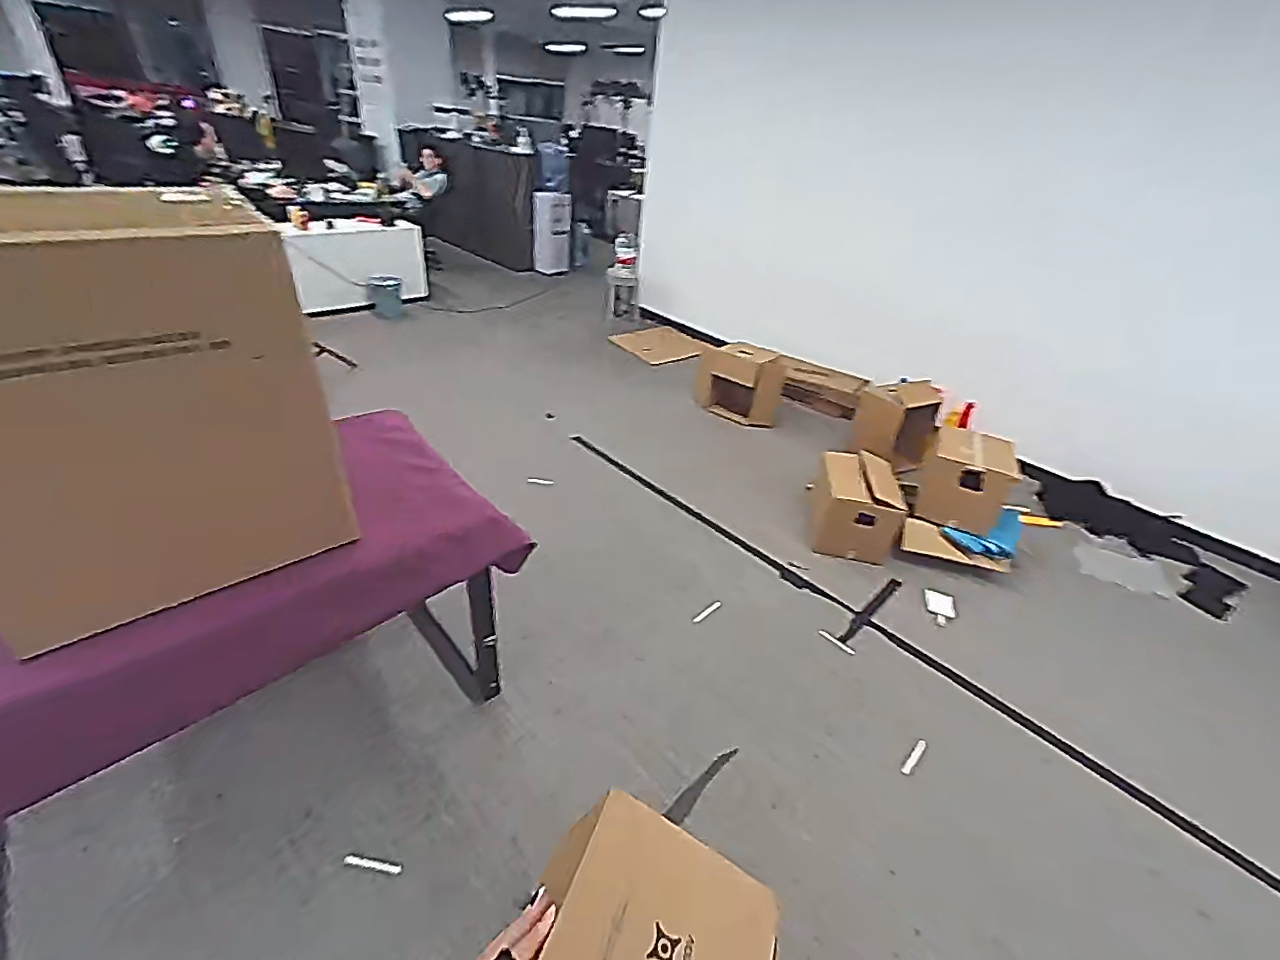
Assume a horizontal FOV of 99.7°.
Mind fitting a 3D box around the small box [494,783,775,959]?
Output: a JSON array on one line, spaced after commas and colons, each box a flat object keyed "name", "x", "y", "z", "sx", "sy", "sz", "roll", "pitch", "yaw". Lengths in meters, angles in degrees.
[{"name": "small box", "x": -0.016, "y": 0.400, "z": 0.446, "sx": 0.179, "sy": 0.176, "sz": 0.168, "roll": 30, "pitch": 34, "yaw": 3}]
